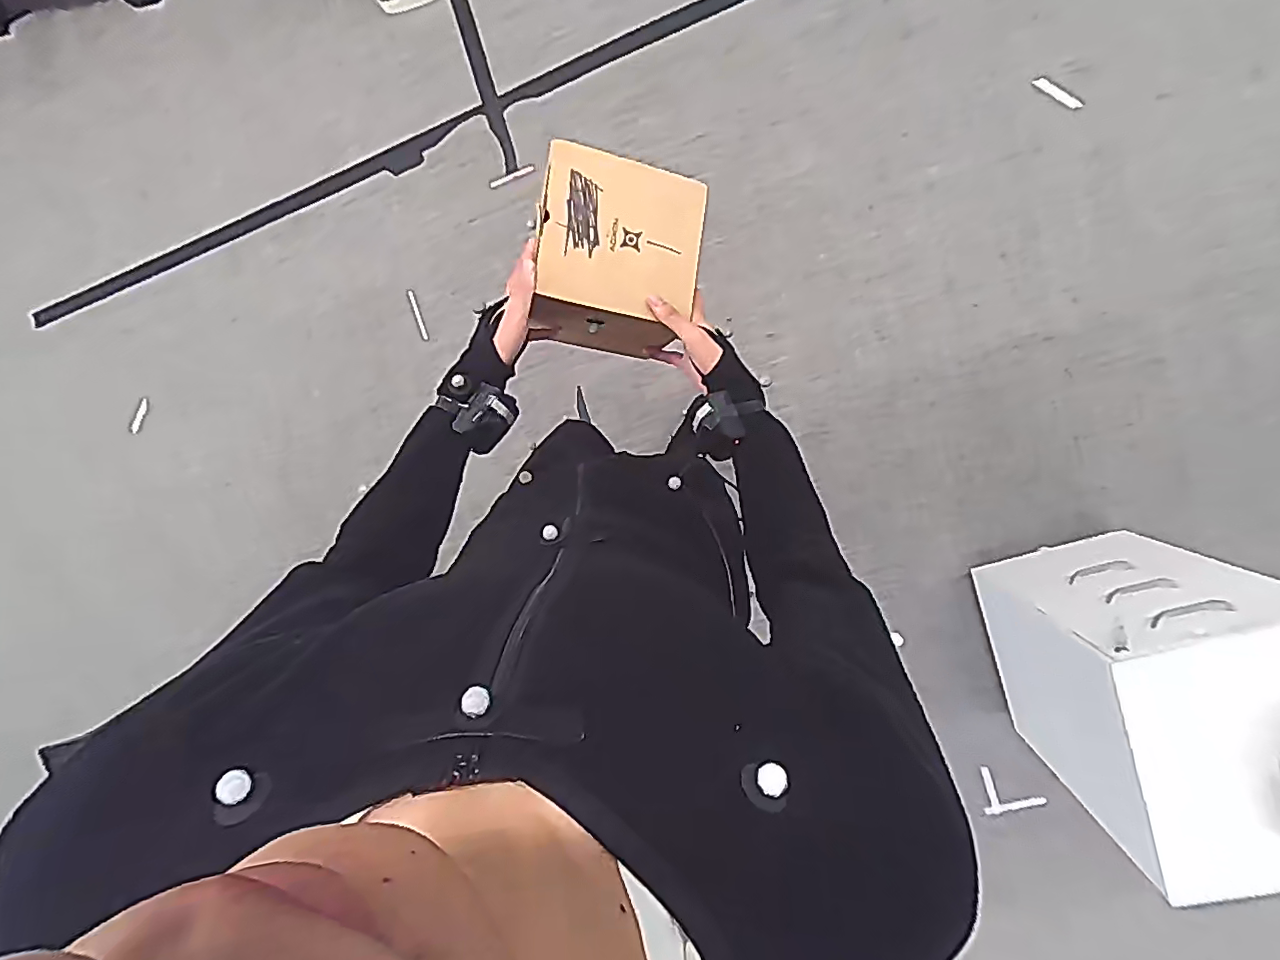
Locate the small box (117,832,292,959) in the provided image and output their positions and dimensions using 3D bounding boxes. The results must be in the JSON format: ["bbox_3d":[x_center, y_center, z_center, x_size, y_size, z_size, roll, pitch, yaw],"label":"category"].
[{"bbox_3d":[-0.833,0.829,1.050,0.179,0.176,0.168,-17,96,10],"label":"small box"}]

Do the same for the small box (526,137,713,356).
[{"bbox_3d":[-0.035,-0.255,0.642,0.179,0.176,0.168,8,88,-16],"label":"small box"}]
